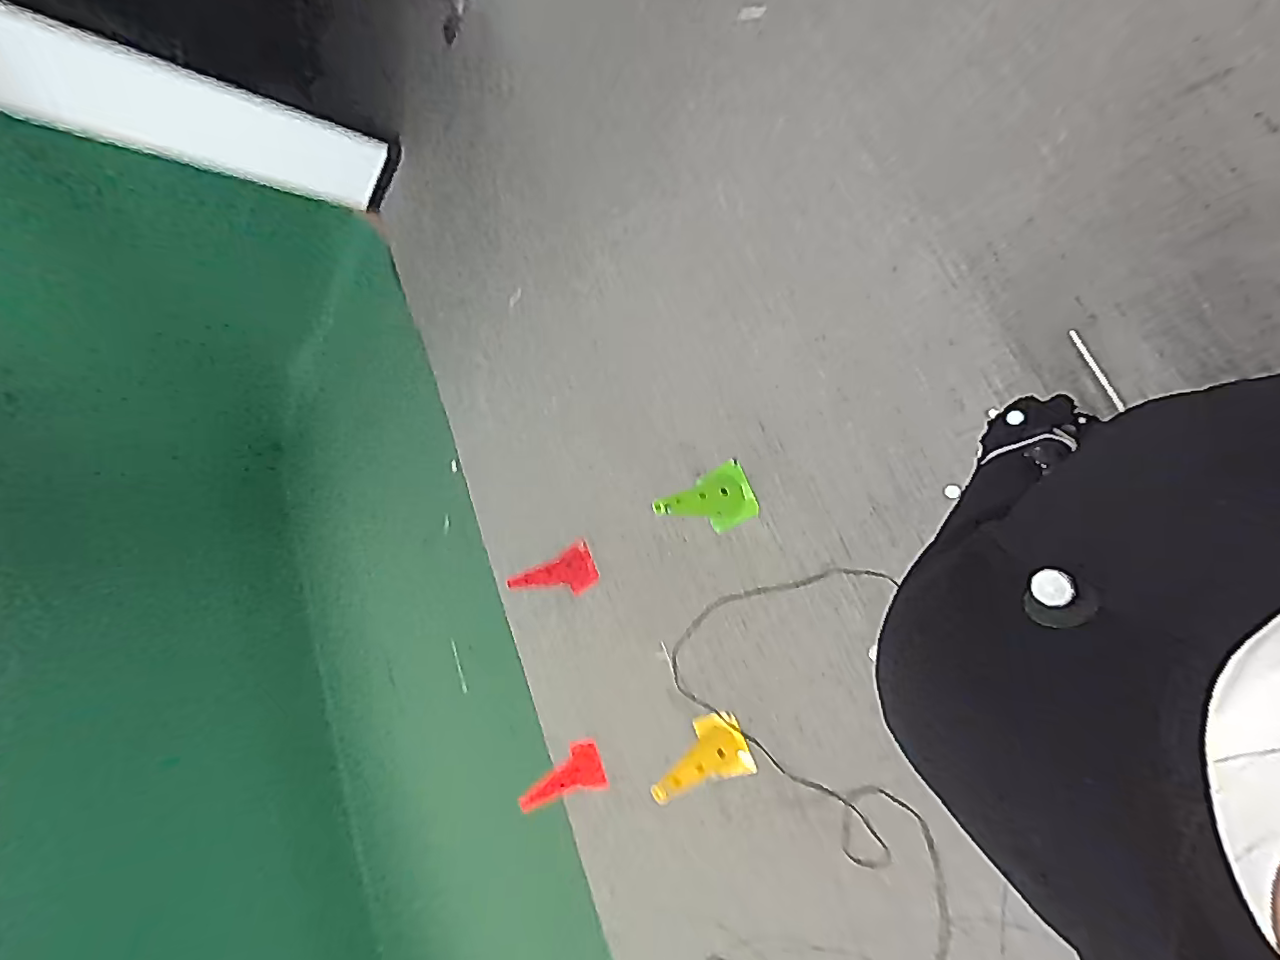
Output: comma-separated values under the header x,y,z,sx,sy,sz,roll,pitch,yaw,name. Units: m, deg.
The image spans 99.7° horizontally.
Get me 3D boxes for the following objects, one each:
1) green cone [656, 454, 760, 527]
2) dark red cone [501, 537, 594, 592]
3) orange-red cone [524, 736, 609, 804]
x,y,z,sx,sy,sz,roll,pitch,yaw,name
0.176,0.054,1.691,0.200,0.368,0.202,-35,72,40,green cone
-0.394,0.381,2.226,0.201,0.394,0.202,-40,68,40,dark red cone
-0.339,1.269,2.301,0.199,0.360,0.198,-32,74,39,orange-red cone
